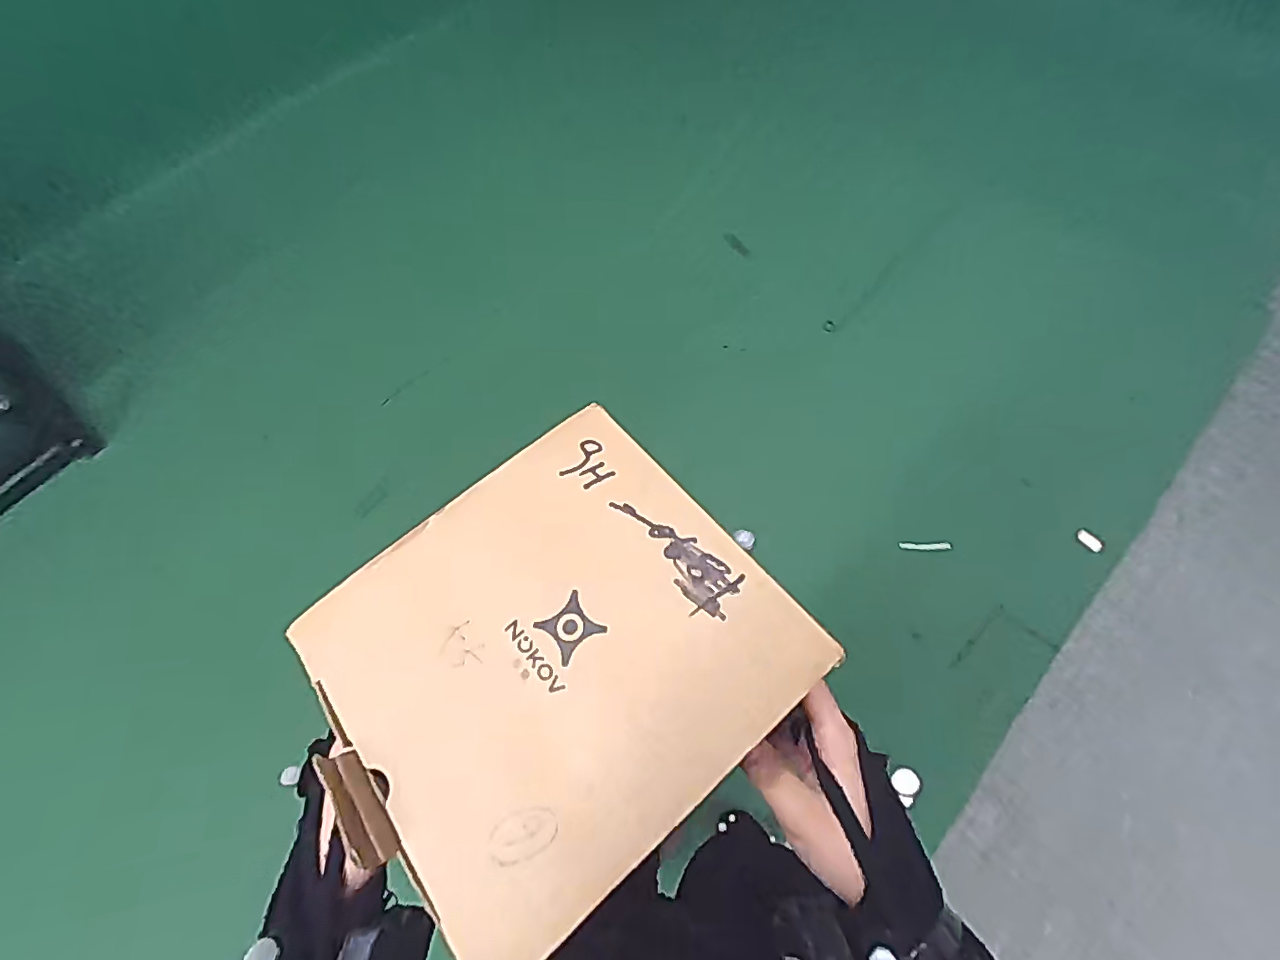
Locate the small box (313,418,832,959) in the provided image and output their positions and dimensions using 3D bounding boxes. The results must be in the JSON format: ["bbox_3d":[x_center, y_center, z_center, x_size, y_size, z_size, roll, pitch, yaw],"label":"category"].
[{"bbox_3d":[-0.028,0.106,0.304,0.179,0.176,0.168,-37,67,-13],"label":"small box"}]
